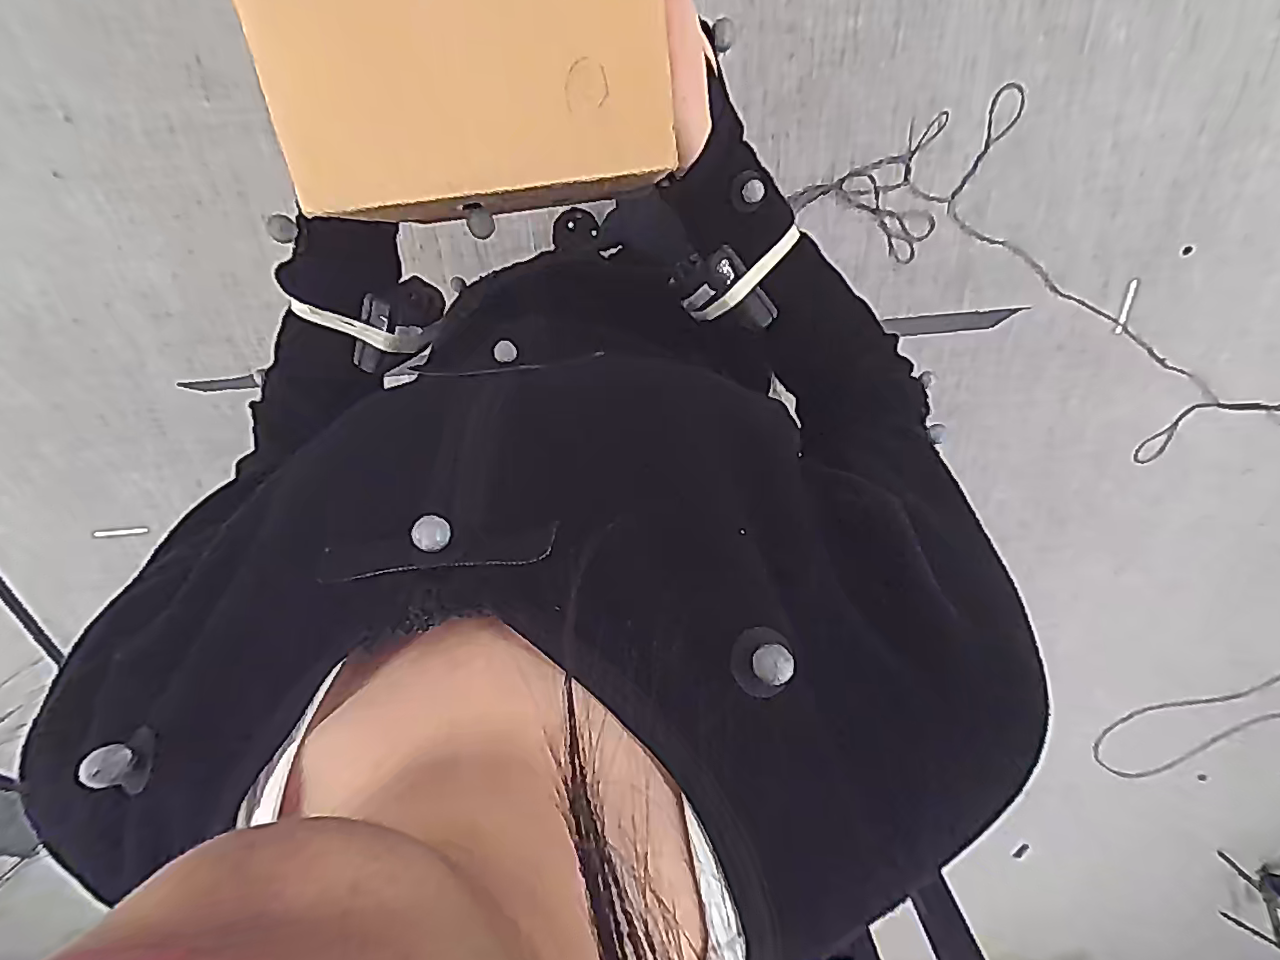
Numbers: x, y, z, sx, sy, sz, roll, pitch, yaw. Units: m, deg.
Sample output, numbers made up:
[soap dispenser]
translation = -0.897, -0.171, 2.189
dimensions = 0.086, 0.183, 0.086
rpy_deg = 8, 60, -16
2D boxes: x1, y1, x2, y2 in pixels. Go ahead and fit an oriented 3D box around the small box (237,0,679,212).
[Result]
[small box]
translation = -0.075, -0.238, 0.268
dimensions = 0.168, 0.176, 0.179
rpy_deg = -8, 113, 0
